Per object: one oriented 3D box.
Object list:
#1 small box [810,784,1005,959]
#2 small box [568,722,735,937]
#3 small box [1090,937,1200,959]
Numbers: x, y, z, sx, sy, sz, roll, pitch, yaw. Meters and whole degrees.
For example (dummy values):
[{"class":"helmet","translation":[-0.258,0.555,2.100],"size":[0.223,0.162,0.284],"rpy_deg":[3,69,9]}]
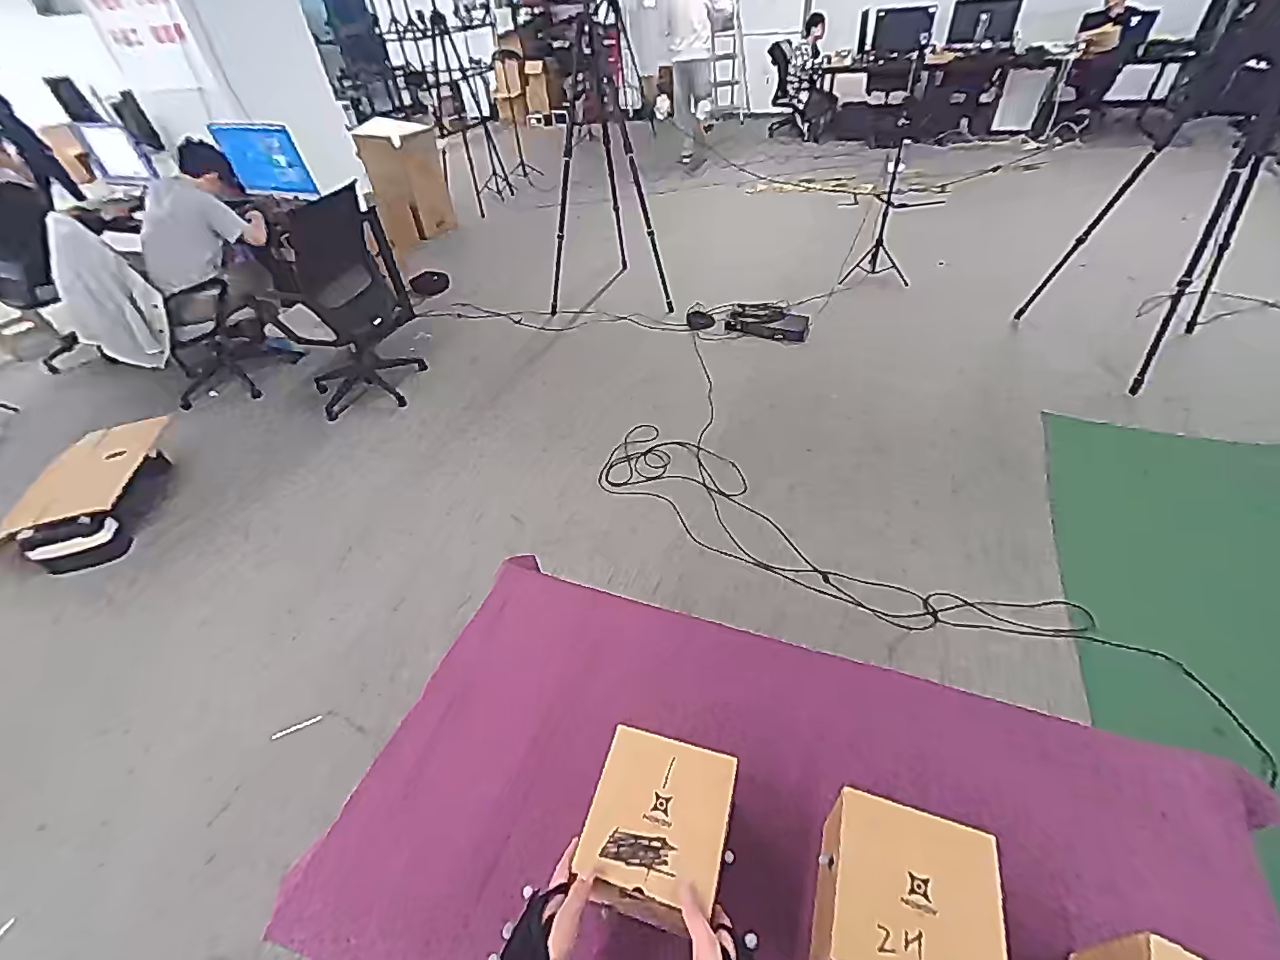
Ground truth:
[{"class":"small box","translation":[0.300,0.499,0.630],"size":[0.168,0.176,0.179],"rpy_deg":[11,46,18]},{"class":"small box","translation":[0.026,0.457,0.707],"size":[0.168,0.176,0.179],"rpy_deg":[9,45,16]},{"class":"small box","translation":[0.545,0.586,0.512],"size":[0.179,0.176,0.168],"rpy_deg":[19,49,26]}]
